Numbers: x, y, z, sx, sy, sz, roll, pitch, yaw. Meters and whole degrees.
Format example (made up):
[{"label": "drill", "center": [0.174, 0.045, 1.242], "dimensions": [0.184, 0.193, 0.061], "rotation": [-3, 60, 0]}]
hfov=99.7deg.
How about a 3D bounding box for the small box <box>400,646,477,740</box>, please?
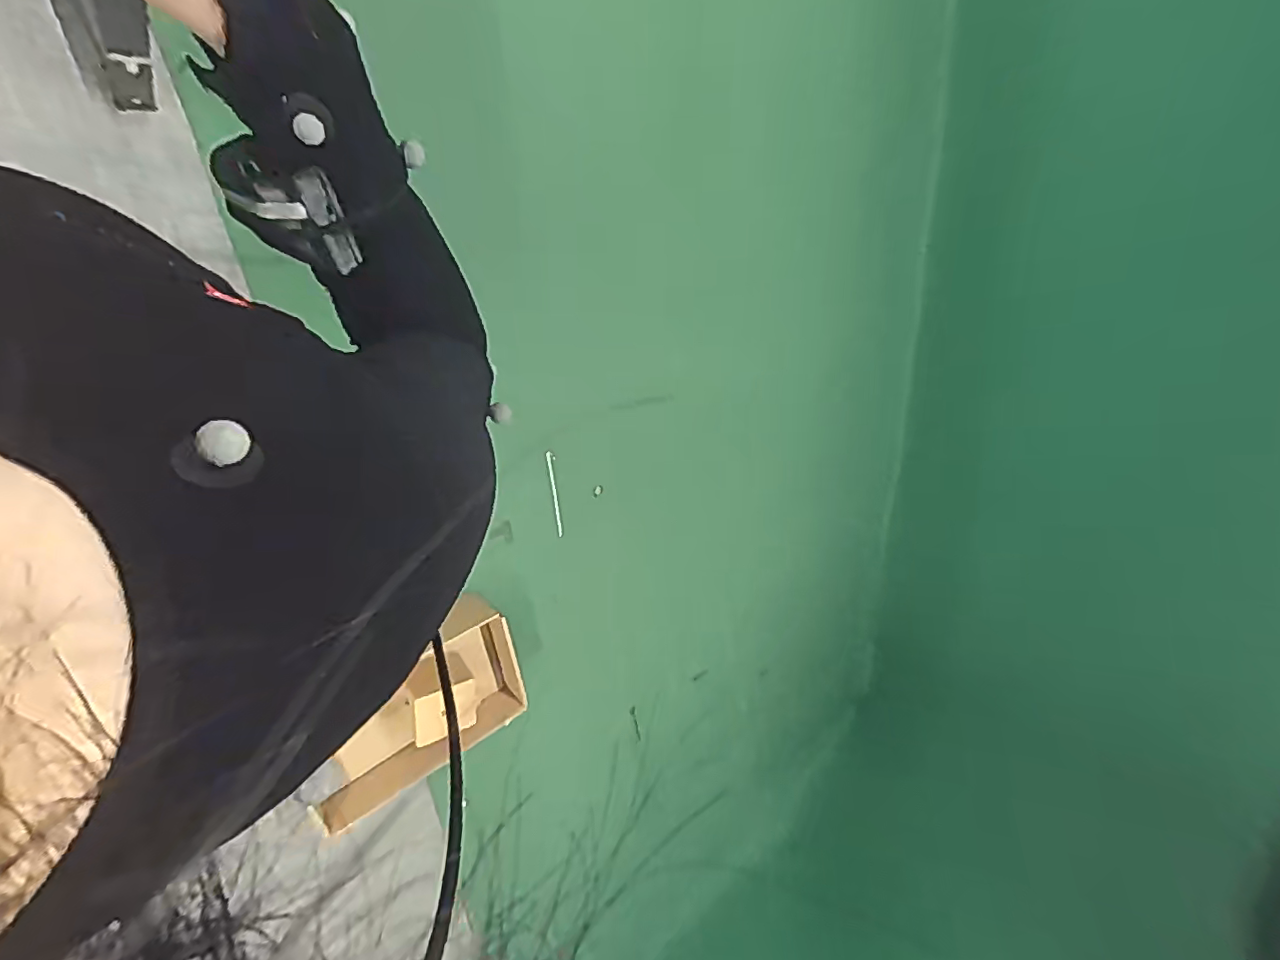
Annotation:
[{"label": "small box", "center": [-0.600, 0.622, 1.601], "dimensions": [0.179, 0.176, 0.168], "rotation": [-10, 113, -38]}]
